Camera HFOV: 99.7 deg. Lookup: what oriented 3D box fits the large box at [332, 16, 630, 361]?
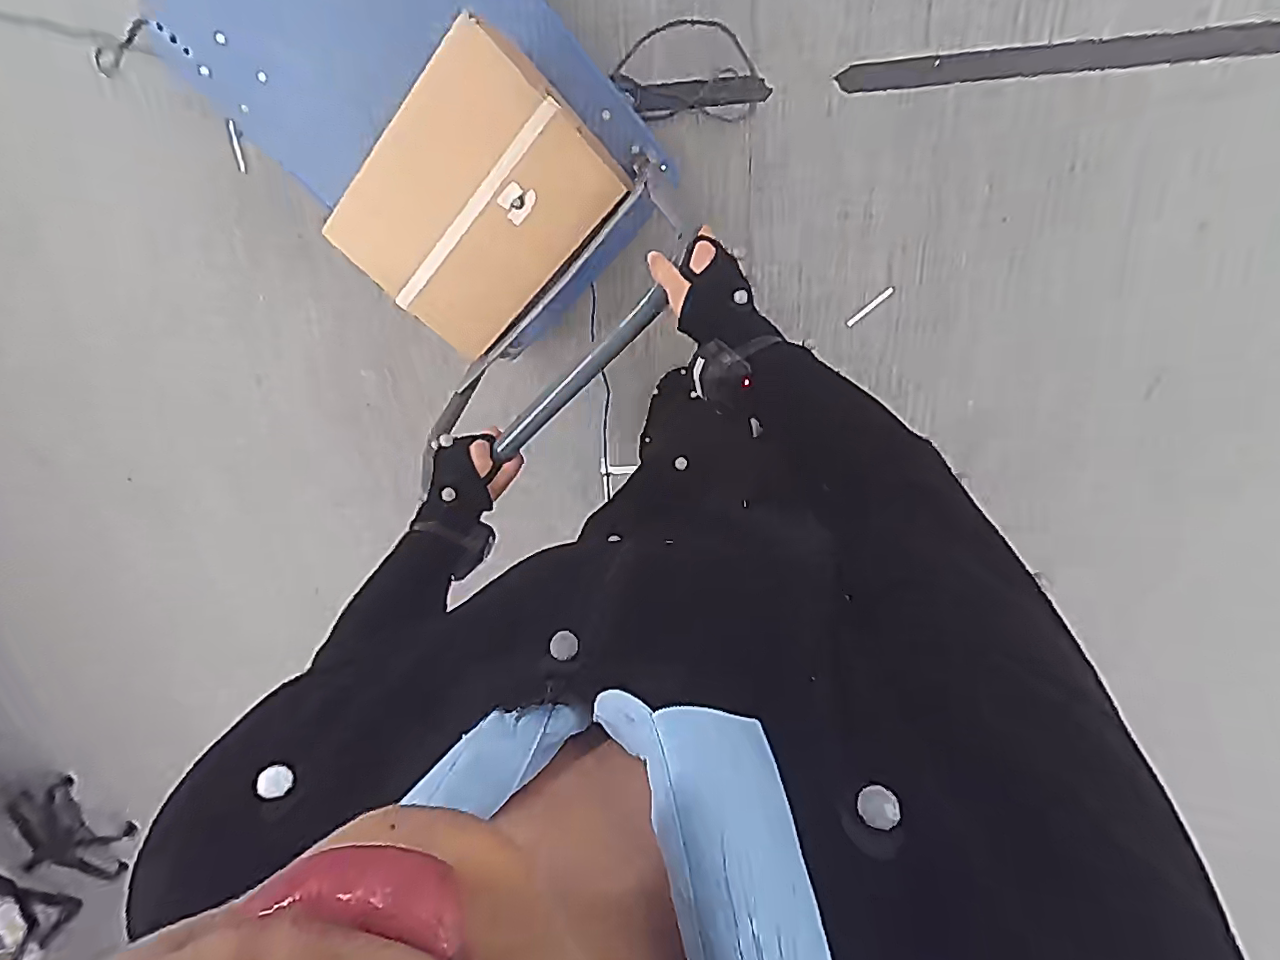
[{"bbox_3d":[-0.265,-0.502,0.999,0.408,0.320,0.320,-41,112,21],"label":"large box"}]
